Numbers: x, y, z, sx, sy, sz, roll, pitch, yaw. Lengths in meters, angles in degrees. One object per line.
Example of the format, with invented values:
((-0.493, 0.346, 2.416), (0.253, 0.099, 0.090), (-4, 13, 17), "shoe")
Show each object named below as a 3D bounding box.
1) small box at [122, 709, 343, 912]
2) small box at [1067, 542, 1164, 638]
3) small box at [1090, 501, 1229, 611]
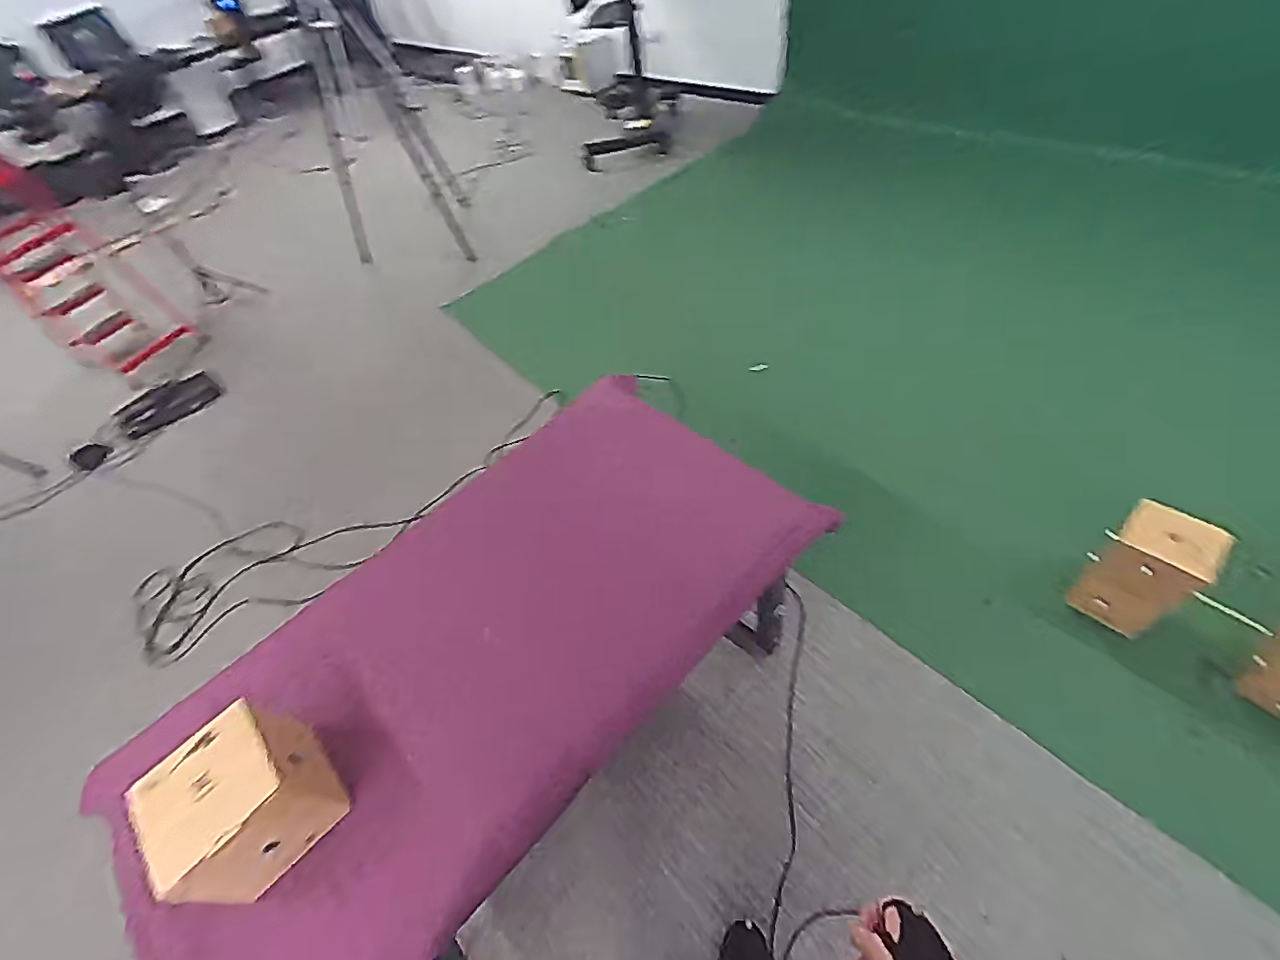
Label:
((-0.573, 0.471, 0.779), (0.179, 0.176, 0.168), (34, 65, 31), "small box")
((1.304, 0.292, 1.464), (0.179, 0.176, 0.168), (-41, 54, -21), "small box")
((1.271, 0.191, 1.338), (0.179, 0.176, 0.168), (34, 65, 32), "small box")
